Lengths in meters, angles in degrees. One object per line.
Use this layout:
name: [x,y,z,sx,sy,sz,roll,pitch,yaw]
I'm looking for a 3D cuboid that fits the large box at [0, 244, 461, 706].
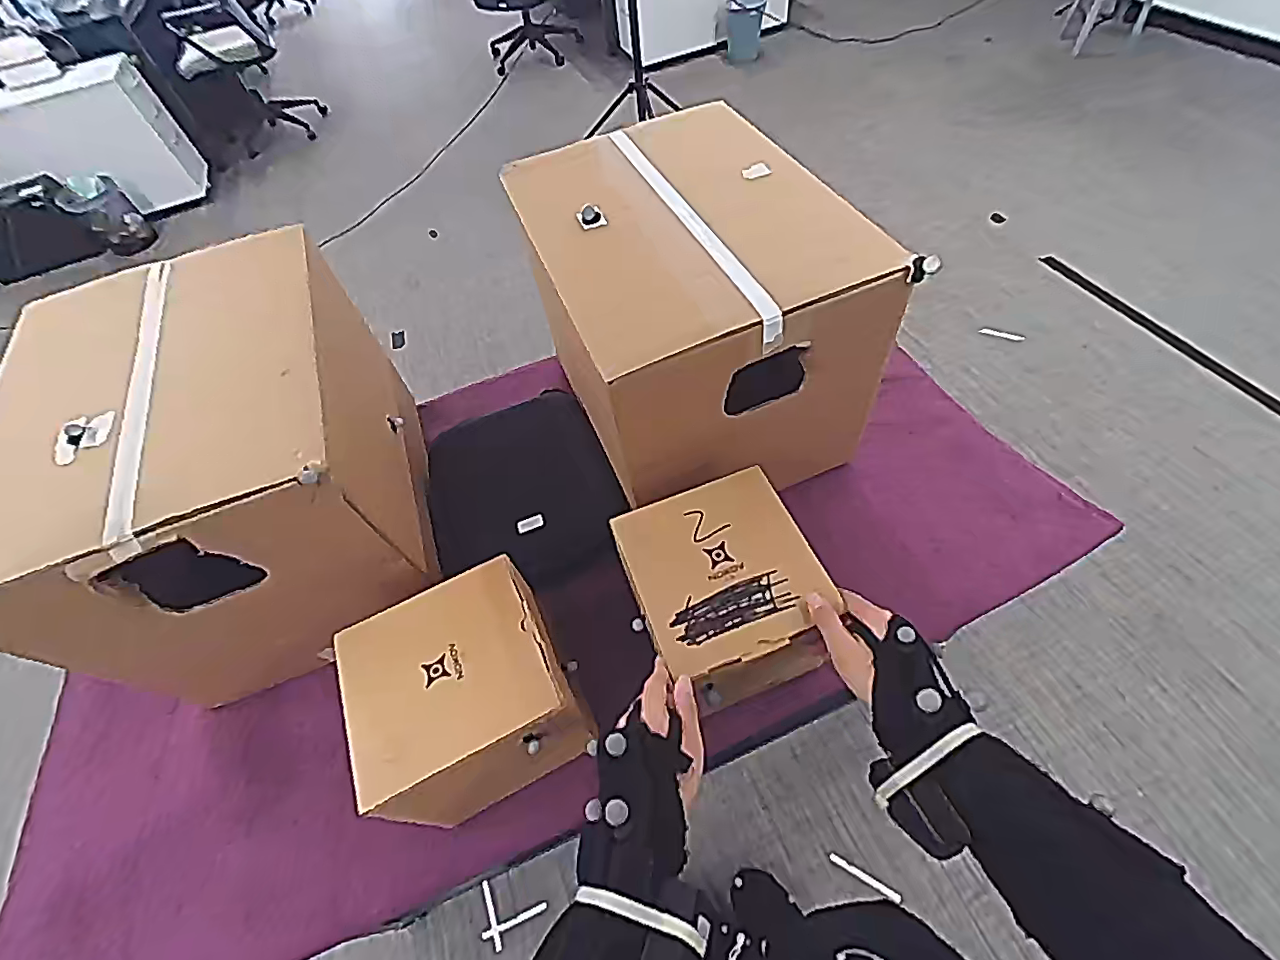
large box: [-0.457,-0.005,0.658,0.320,0.320,0.408,-23,58,-8]
